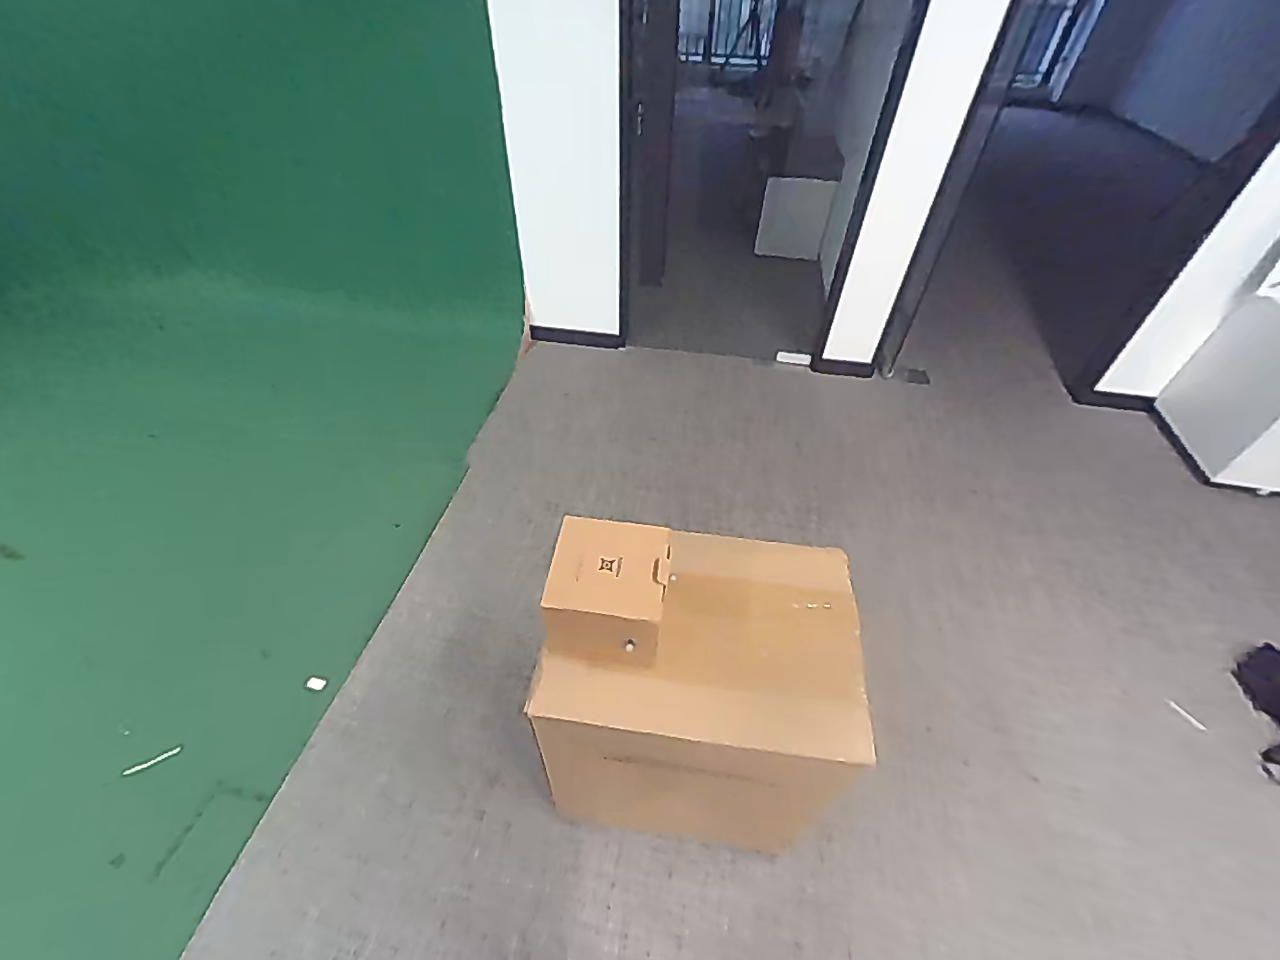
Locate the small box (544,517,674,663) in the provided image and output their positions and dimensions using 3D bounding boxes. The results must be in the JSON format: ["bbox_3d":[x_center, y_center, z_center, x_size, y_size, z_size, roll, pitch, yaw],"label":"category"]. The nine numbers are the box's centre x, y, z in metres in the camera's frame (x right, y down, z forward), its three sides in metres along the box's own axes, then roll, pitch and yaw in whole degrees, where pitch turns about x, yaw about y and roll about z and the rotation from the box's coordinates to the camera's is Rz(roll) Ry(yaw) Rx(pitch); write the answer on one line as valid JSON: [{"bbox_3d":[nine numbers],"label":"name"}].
[{"bbox_3d":[-0.042,0.182,0.878,0.179,0.176,0.168,5,49,5],"label":"small box"}]
